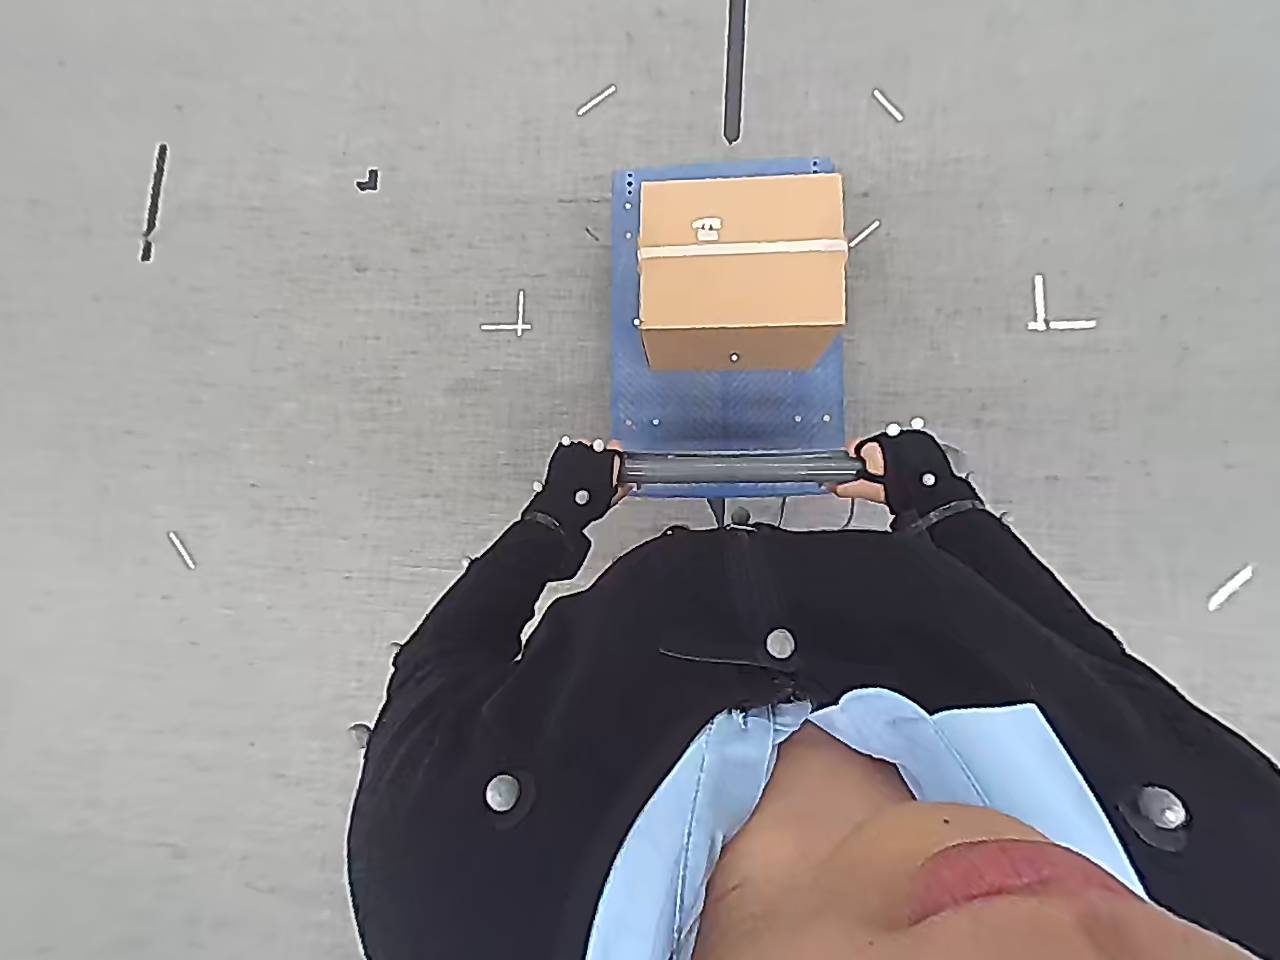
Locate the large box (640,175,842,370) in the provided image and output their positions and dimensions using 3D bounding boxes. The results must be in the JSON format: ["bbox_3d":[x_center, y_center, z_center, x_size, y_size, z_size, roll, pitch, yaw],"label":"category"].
[{"bbox_3d":[0.217,-0.447,1.242,0.408,0.320,0.320,0,84,6],"label":"large box"}]
